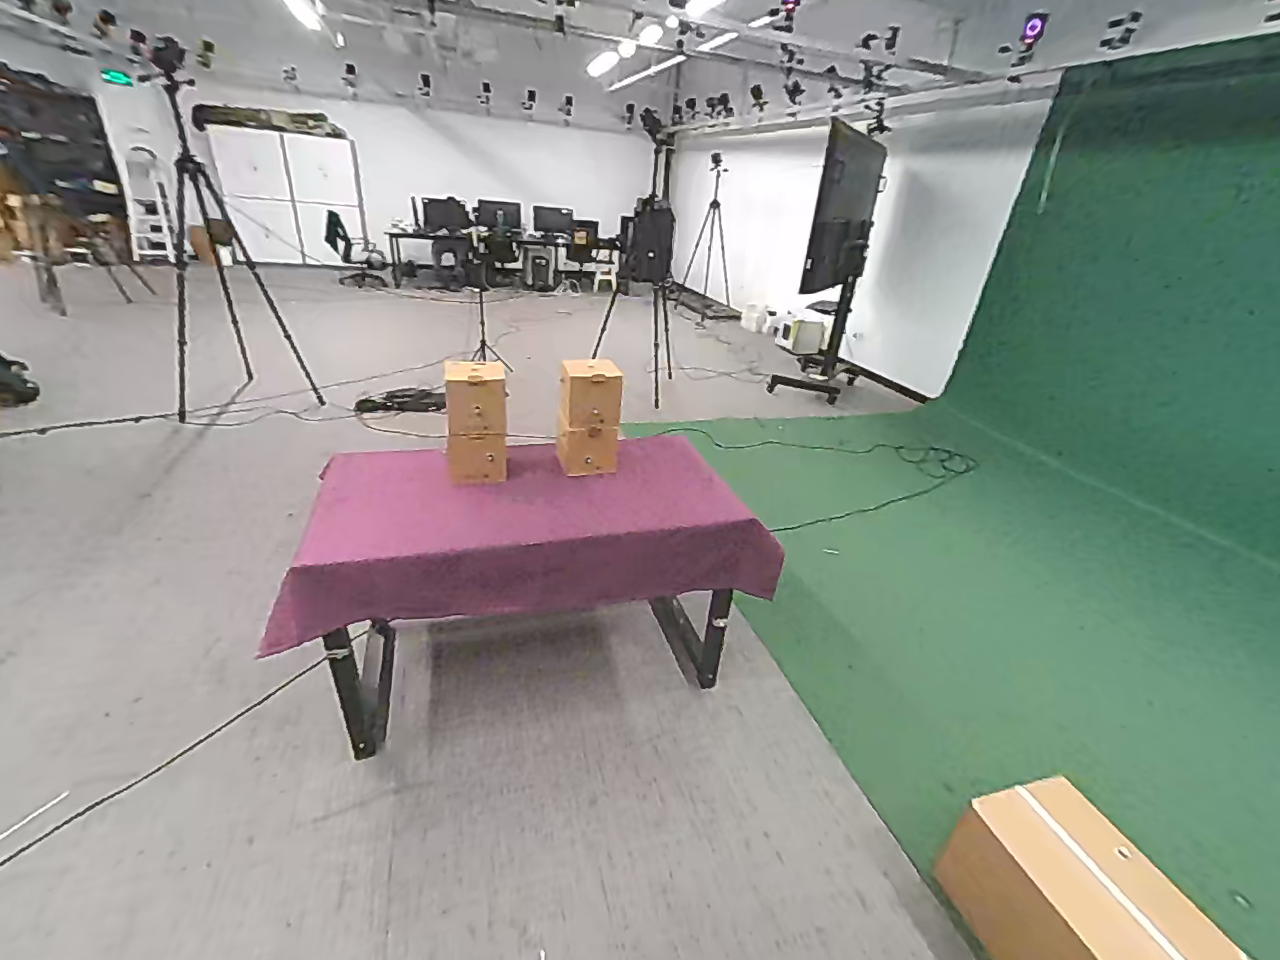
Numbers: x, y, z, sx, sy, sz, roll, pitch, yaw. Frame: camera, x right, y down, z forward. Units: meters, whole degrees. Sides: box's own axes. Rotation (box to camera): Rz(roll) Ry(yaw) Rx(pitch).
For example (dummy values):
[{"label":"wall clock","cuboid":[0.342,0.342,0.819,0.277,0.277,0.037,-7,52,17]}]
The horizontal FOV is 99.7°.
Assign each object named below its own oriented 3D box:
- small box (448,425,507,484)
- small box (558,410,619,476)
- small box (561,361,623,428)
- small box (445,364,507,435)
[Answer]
[{"label":"small box","cuboid":[-0.505,-0.094,1.683,0.168,0.176,0.179,-4,29,-18]},{"label":"small box","cuboid":[-0.176,-0.127,1.796,0.168,0.176,0.179,-6,31,-19]},{"label":"small box","cuboid":[-0.159,-0.275,1.726,0.168,0.176,0.179,-5,30,-17]},{"label":"small box","cuboid":[-0.485,-0.238,1.605,0.168,0.176,0.179,-3,30,-18]}]
